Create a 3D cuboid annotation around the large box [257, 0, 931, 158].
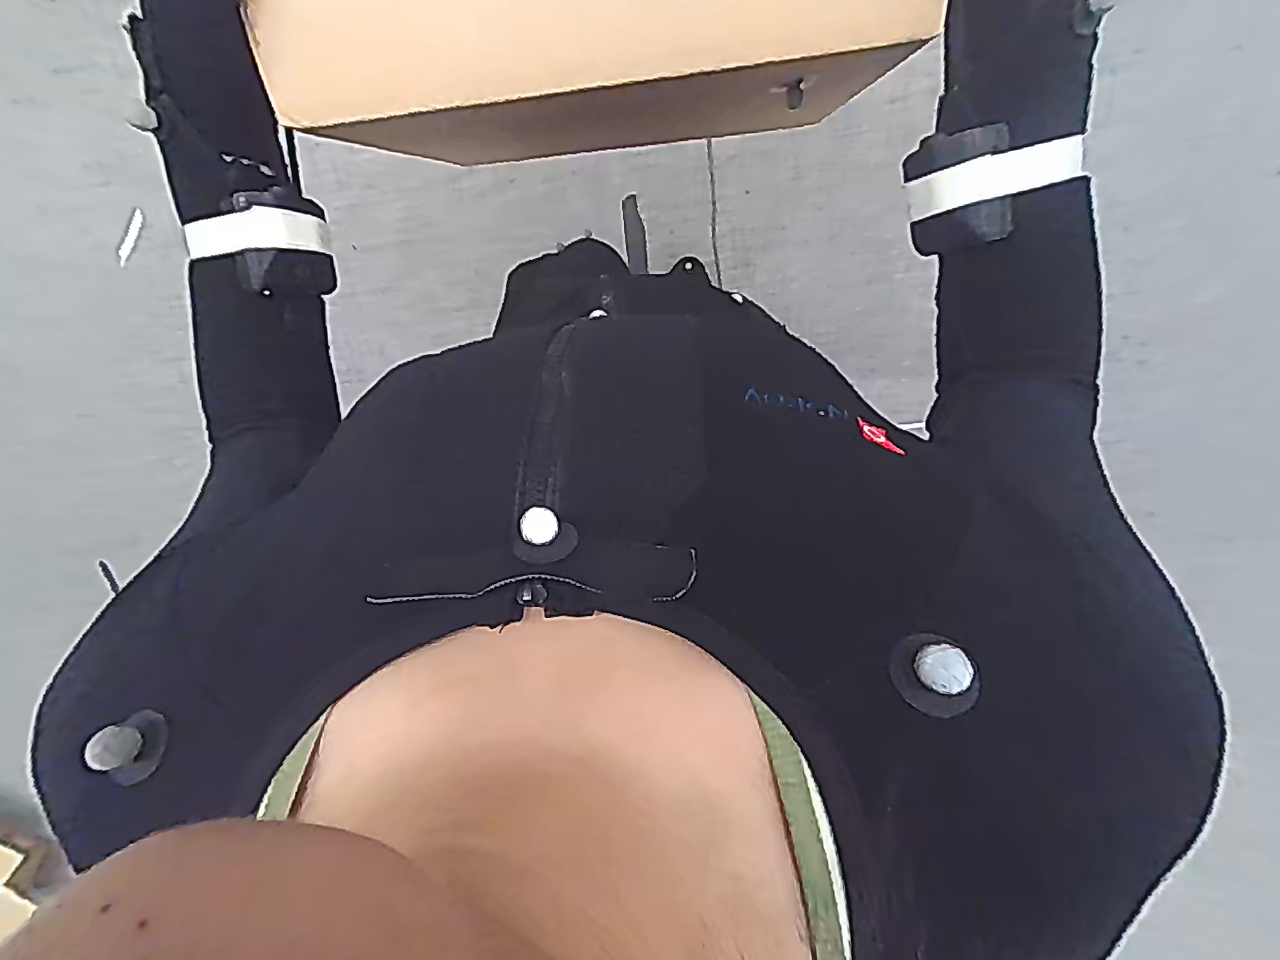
[{"bbox_3d":[-0.034,-0.449,0.402,0.408,0.320,0.320,-3,115,6],"label":"large box"}]
